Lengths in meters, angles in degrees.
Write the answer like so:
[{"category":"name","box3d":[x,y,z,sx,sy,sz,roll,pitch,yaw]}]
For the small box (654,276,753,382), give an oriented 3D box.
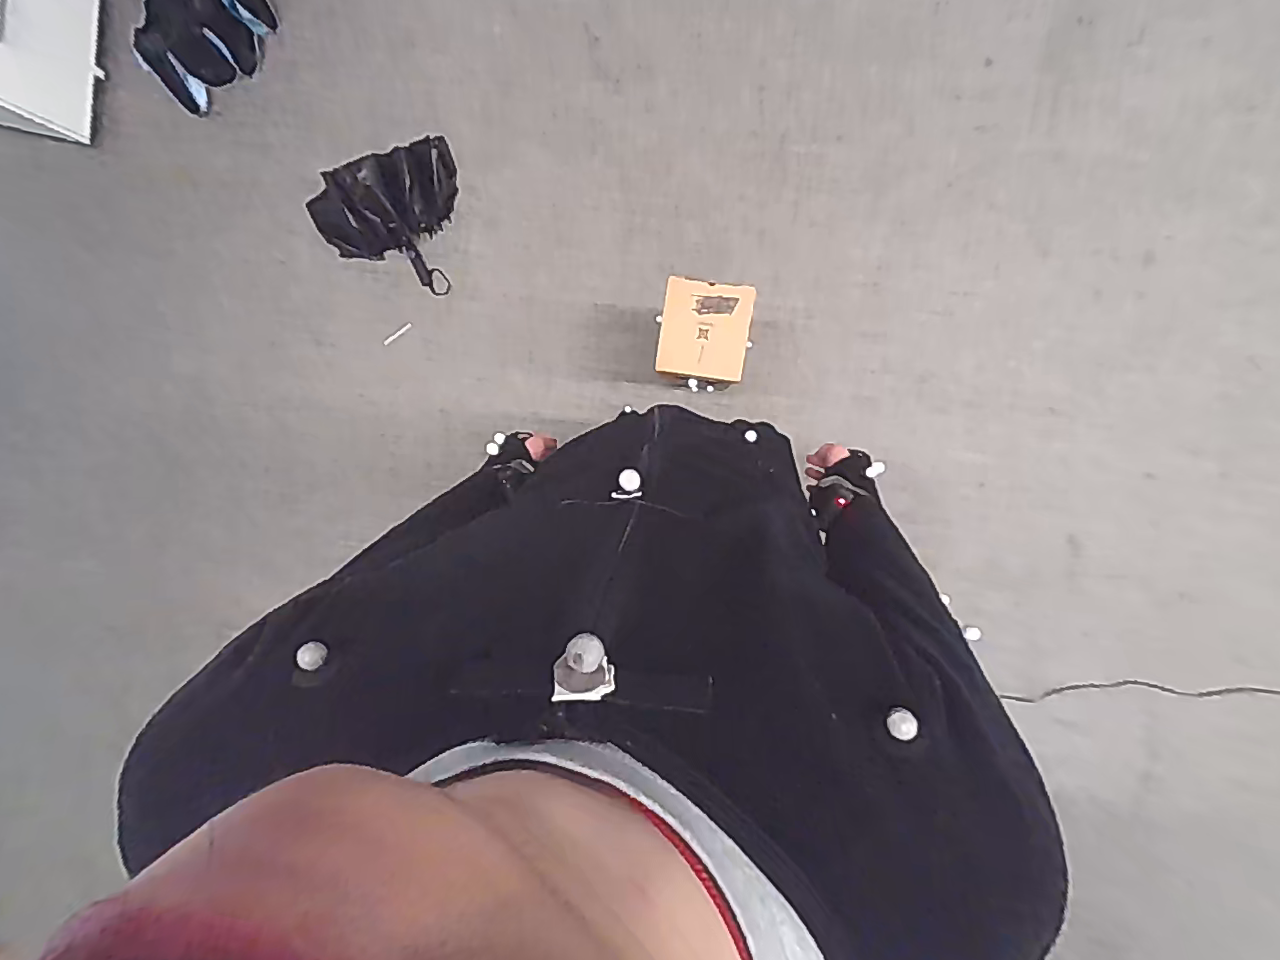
[{"category":"small box","box3d":[0.124,-0.299,1.101,0.168,0.176,0.179,9,100,3]}]
